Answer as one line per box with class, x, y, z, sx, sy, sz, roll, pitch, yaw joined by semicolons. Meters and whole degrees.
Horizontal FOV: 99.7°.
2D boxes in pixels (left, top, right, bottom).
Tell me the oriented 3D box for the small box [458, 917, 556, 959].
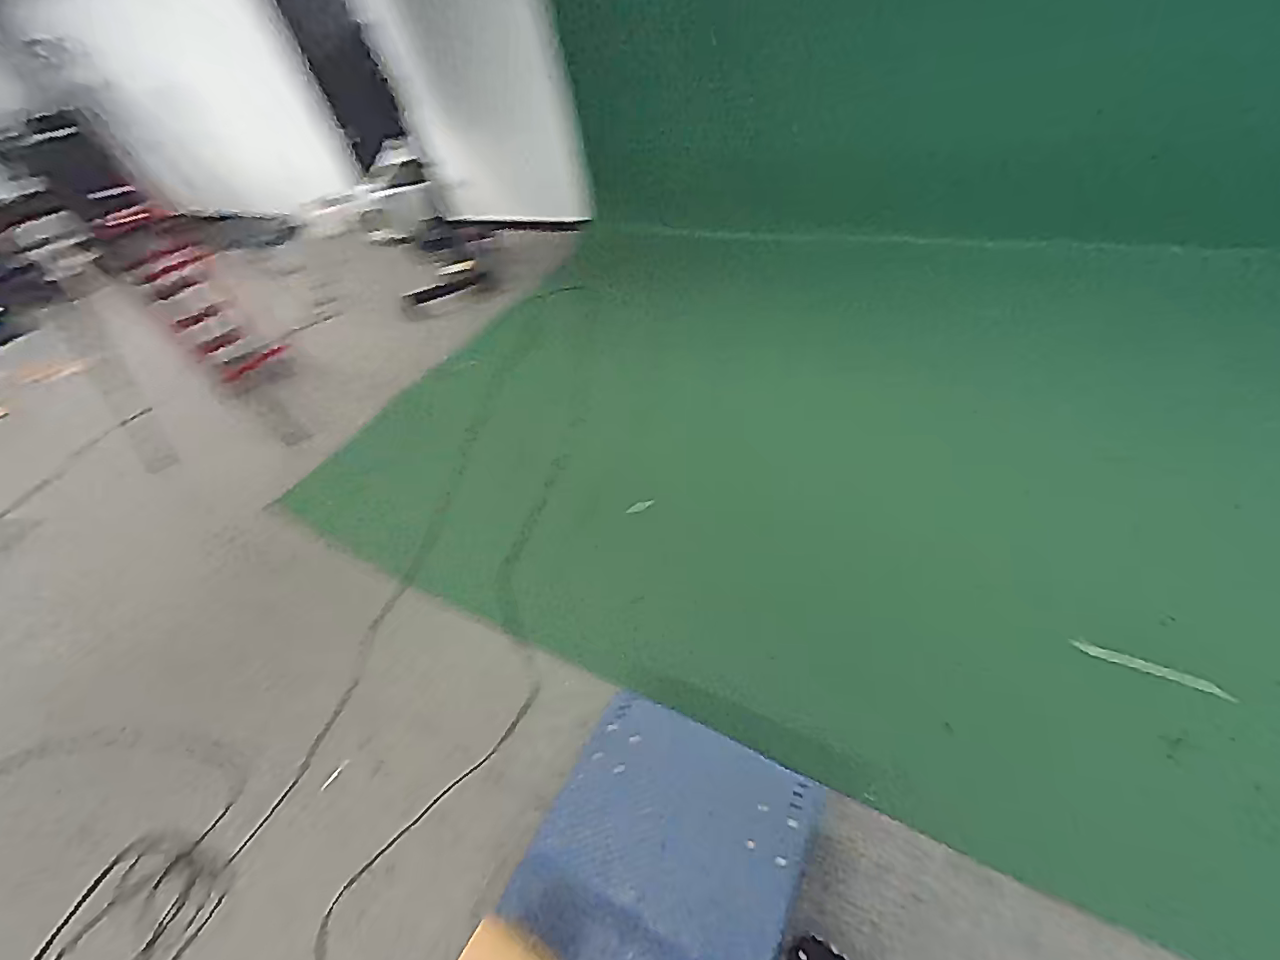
small box;-0.263;0.999;1.051;0.179;0.176;0.168;17;53;28
